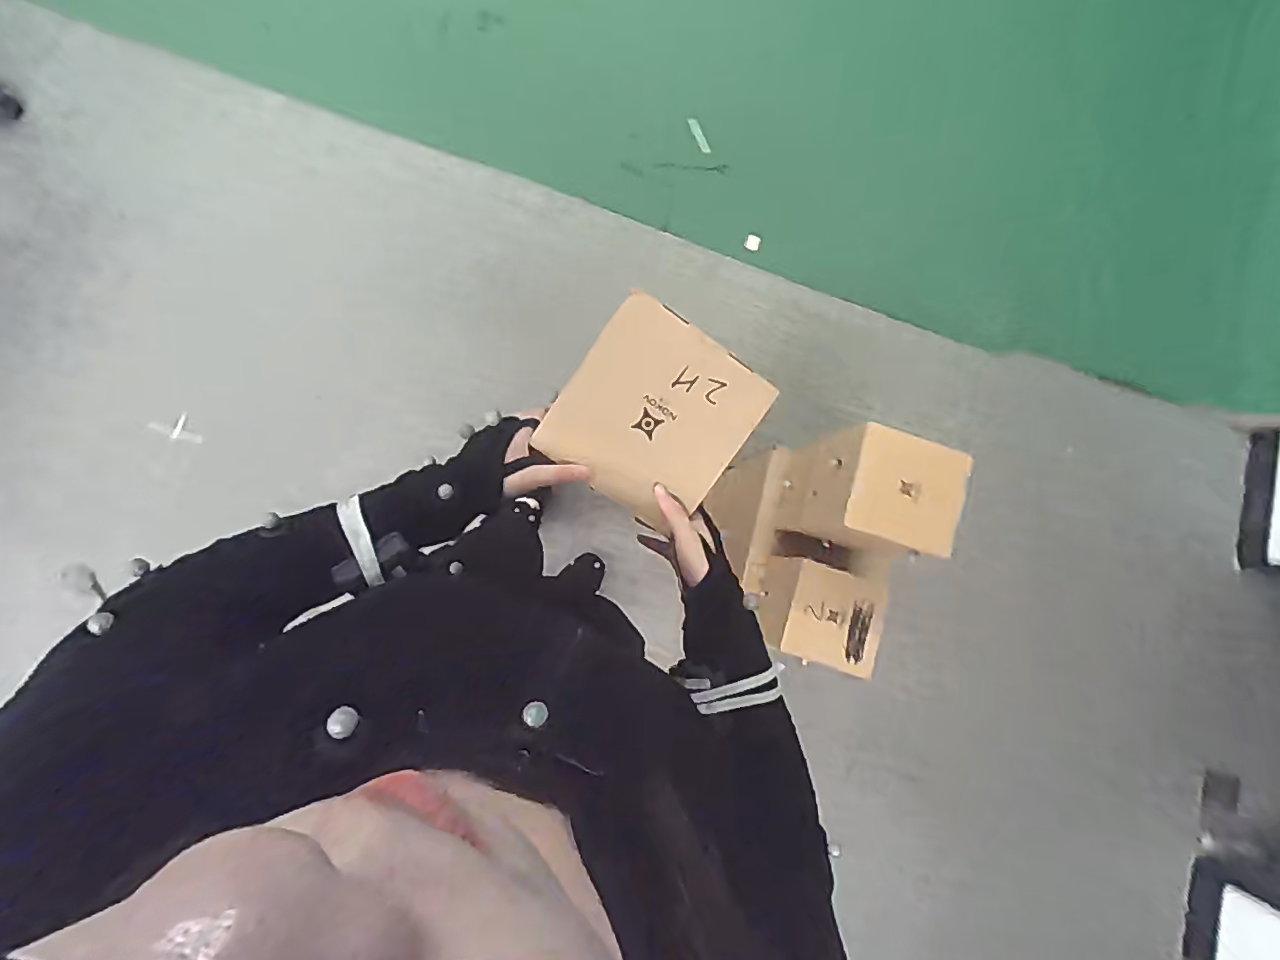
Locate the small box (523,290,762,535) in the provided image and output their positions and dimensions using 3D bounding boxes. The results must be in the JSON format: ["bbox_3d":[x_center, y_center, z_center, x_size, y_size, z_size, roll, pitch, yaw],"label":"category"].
[{"bbox_3d":[0.000,-0.072,0.587,0.168,0.176,0.179,34,96,-8],"label":"small box"}]

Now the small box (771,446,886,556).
[{"bbox_3d":[0.385,0.041,1.067,0.179,0.176,0.168,19,84,-4],"label":"small box"}]

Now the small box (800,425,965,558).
[{"bbox_3d":[0.392,0.024,0.905,0.179,0.176,0.168,18,84,-5],"label":"small box"}]
